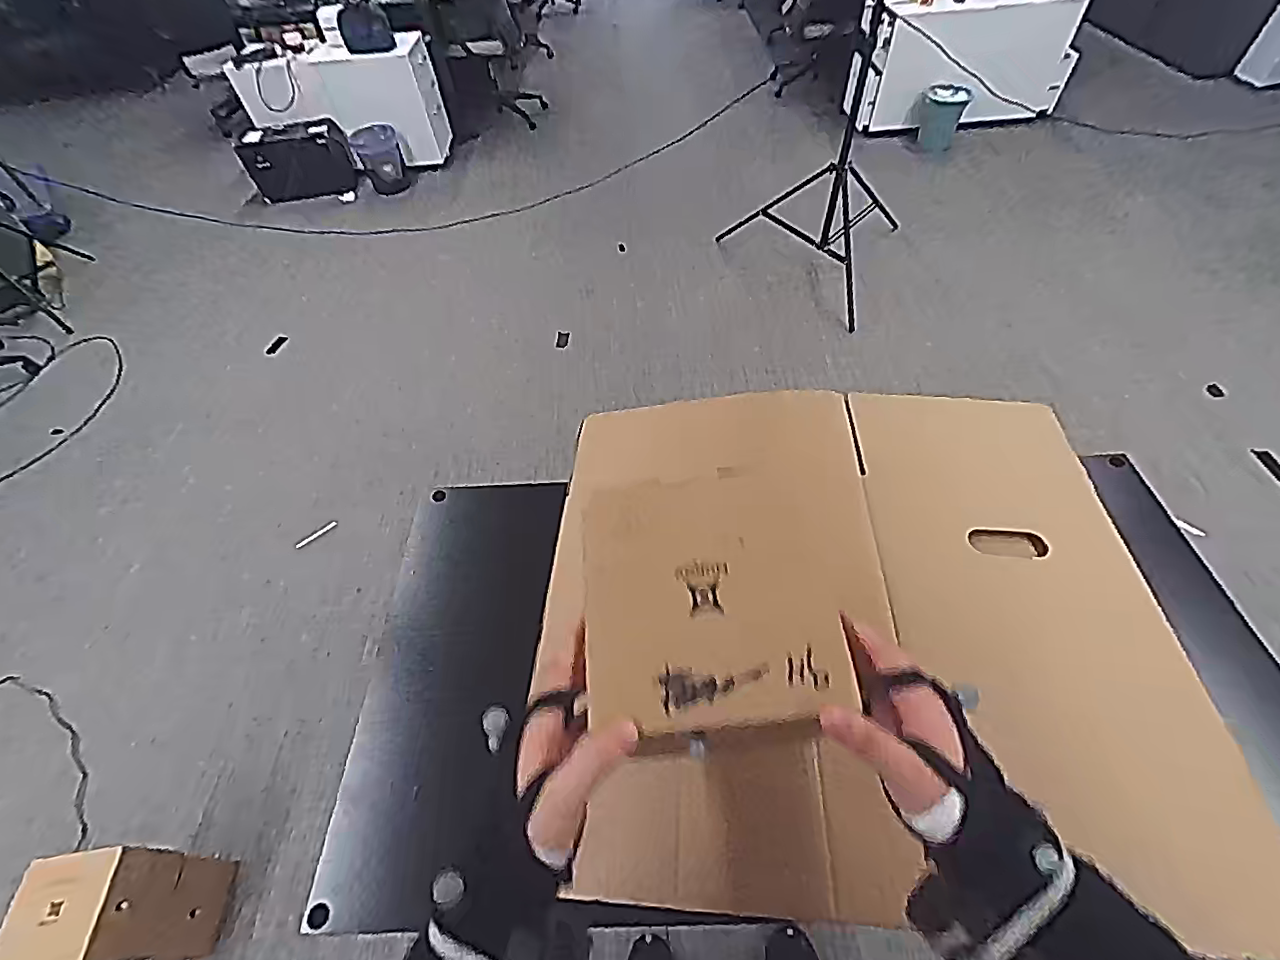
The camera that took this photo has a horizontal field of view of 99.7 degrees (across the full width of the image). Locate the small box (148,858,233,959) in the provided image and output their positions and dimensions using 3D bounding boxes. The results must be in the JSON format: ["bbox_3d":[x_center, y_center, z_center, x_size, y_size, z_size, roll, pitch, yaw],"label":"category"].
[{"bbox_3d":[-1.005,0.909,1.131,0.168,0.176,0.179,-6,53,-1],"label":"small box"}]

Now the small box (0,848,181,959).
[{"bbox_3d":[-1.015,0.806,1.005,0.168,0.176,0.179,-8,52,-3],"label":"small box"}]

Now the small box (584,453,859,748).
[{"bbox_3d":[0.050,0.103,0.431,0.168,0.176,0.179,-7,58,3],"label":"small box"}]
